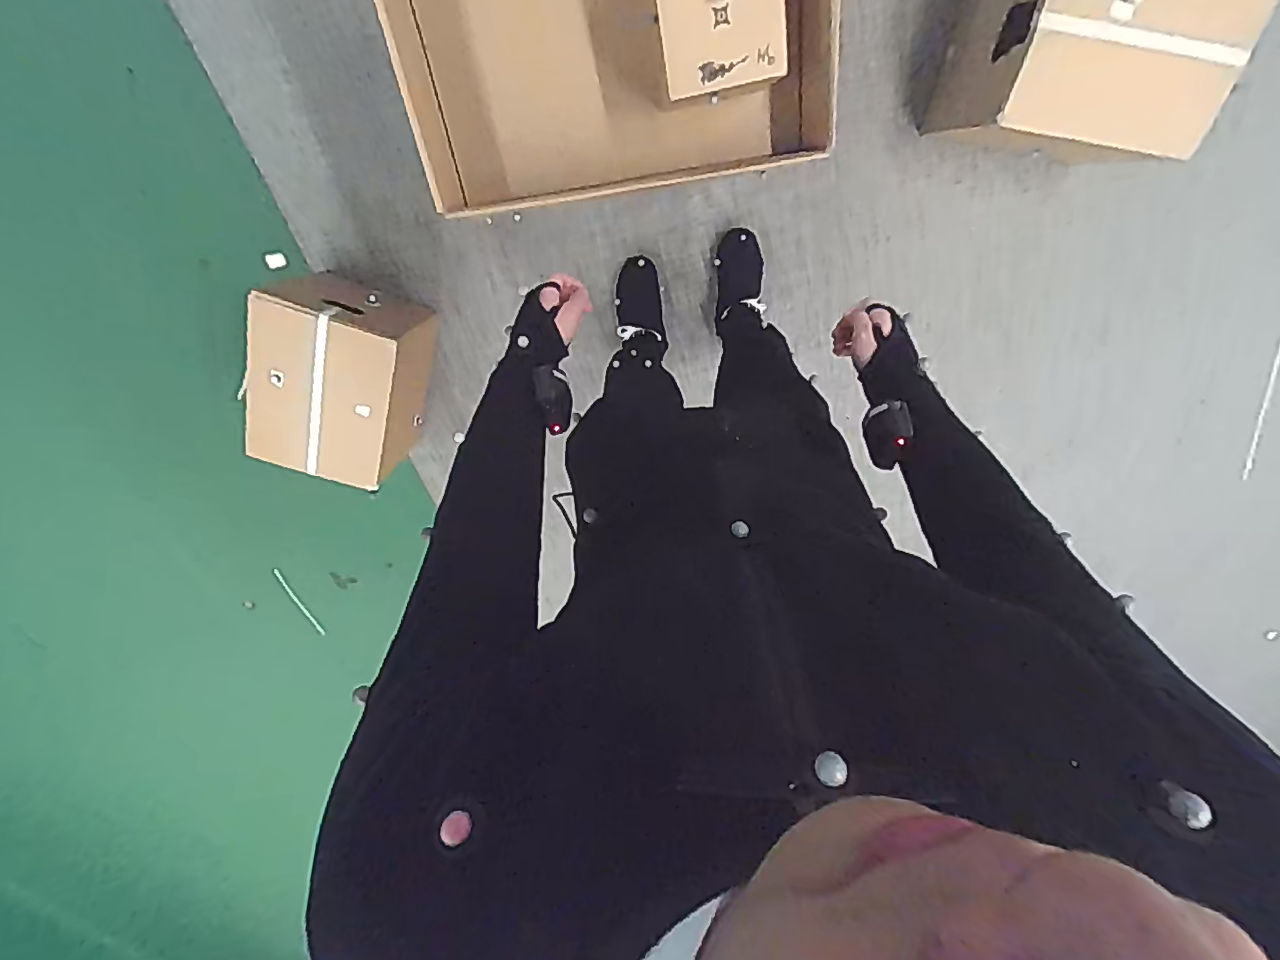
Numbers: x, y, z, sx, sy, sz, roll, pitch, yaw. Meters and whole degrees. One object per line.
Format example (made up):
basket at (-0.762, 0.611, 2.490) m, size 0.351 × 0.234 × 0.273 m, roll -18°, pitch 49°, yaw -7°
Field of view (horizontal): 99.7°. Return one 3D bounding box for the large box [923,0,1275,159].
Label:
large box at (0.878, -0.845, 1.081) m, size 0.408 × 0.320 × 0.320 m, roll 7°, pitch 118°, yaw -4°
